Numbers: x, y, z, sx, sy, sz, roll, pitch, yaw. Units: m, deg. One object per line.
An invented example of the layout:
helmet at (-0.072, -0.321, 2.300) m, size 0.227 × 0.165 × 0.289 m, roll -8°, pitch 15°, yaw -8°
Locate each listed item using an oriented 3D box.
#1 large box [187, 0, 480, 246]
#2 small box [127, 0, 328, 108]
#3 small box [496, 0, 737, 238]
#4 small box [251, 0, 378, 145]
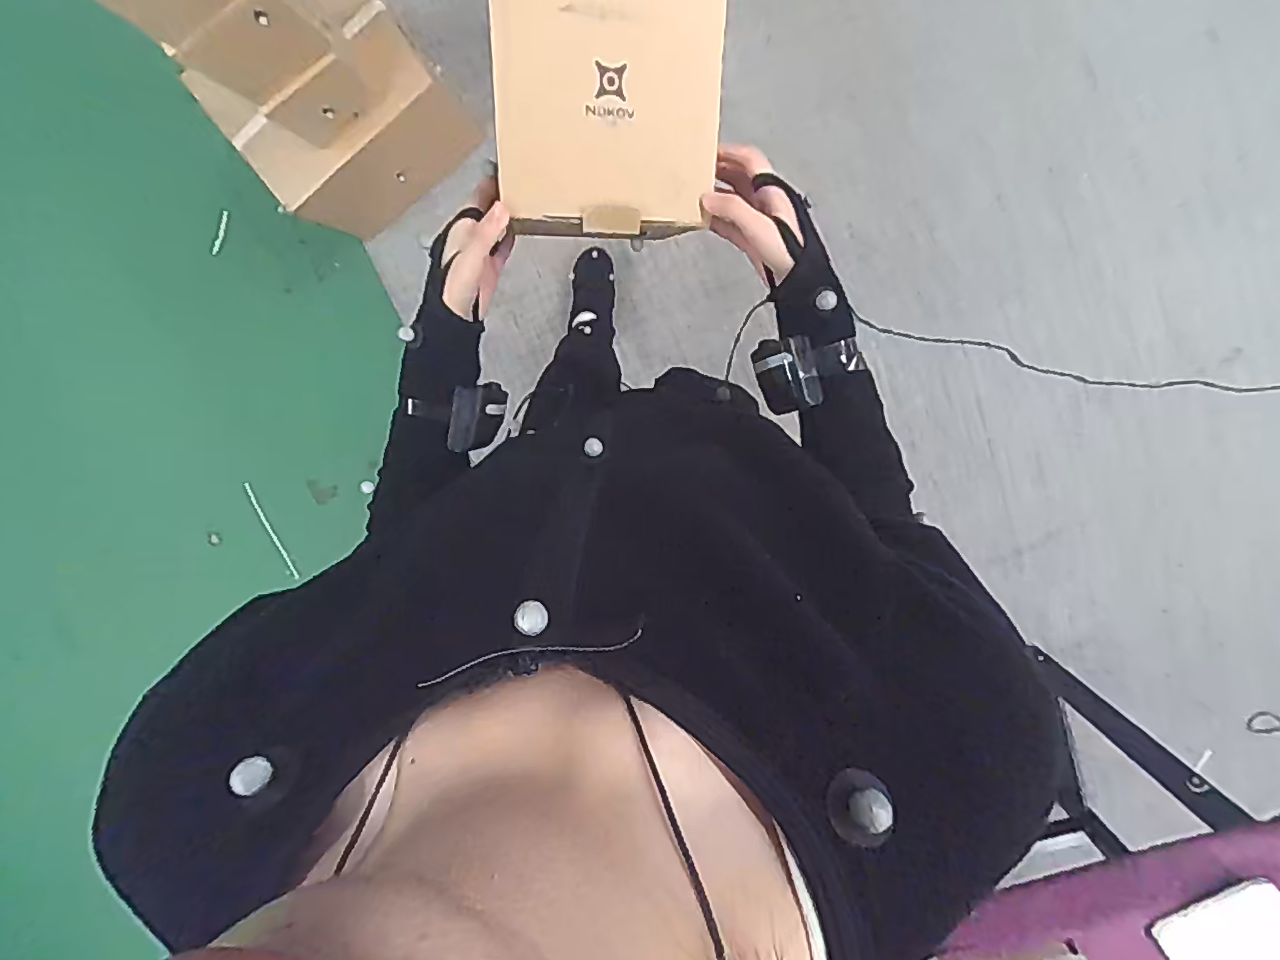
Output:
large box at (-0.639, -0.796, 1.196) m, size 0.408 × 0.320 × 0.320 m, roll -35°, pitch 98°, yaw 10°
small box at (-0.614, -0.702, 0.798) m, size 0.179 × 0.176 × 0.168 m, roll -29°, pitch 101°, yaw 7°
small box at (-0.031, -0.306, 0.453) m, size 0.168 × 0.176 × 0.179 m, roll -2°, pitch 110°, yaw -12°
small box at (-0.609, -0.731, 0.957) m, size 0.168 × 0.176 × 0.179 m, roll -30°, pitch 101°, yaw 8°
